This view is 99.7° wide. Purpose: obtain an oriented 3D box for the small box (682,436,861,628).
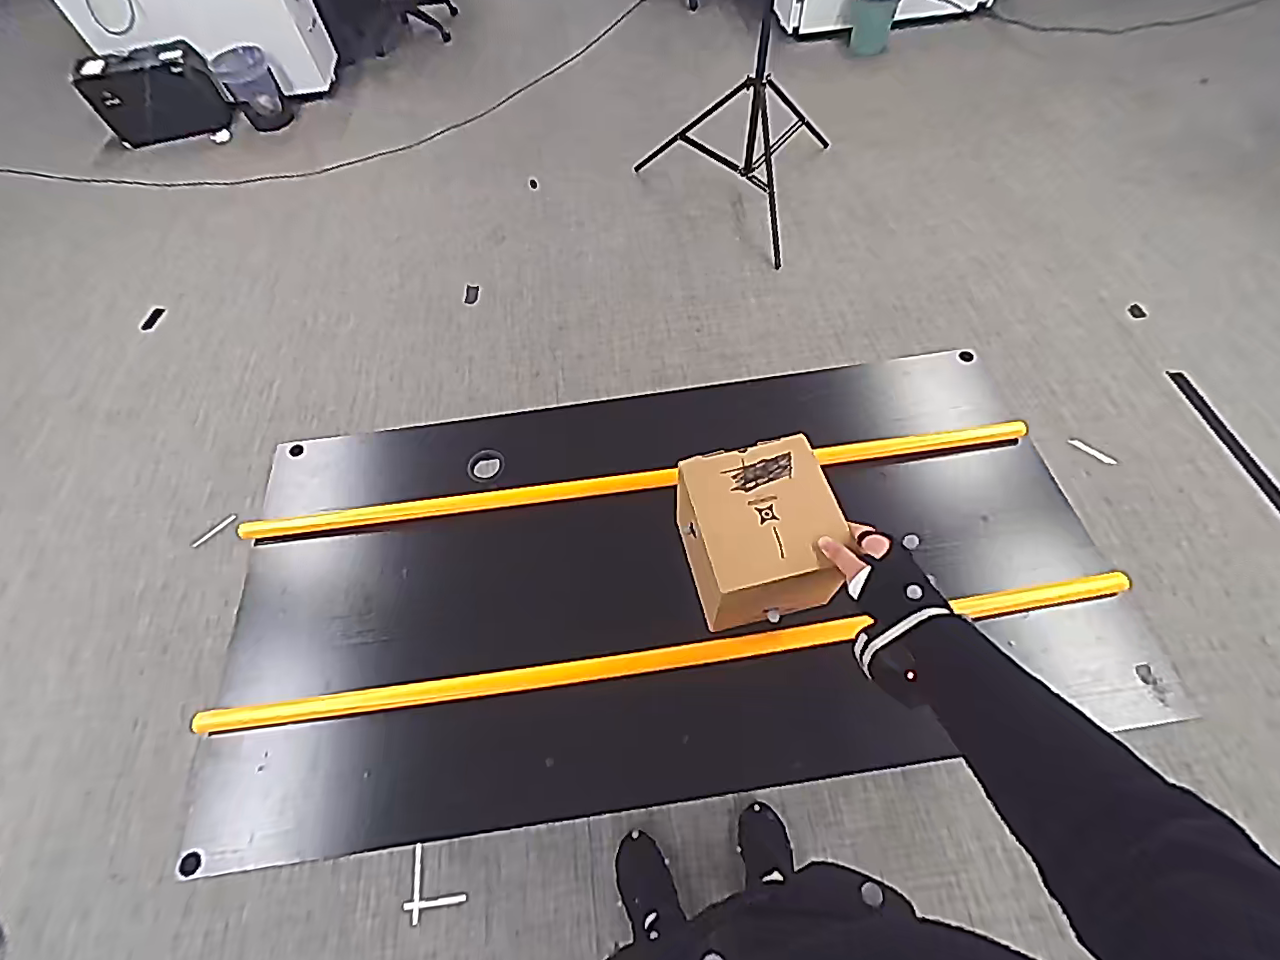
[{"bbox_3d":[0.152,0.072,0.703,0.168,0.176,0.179,-13,61,-3],"label":"small box"}]
